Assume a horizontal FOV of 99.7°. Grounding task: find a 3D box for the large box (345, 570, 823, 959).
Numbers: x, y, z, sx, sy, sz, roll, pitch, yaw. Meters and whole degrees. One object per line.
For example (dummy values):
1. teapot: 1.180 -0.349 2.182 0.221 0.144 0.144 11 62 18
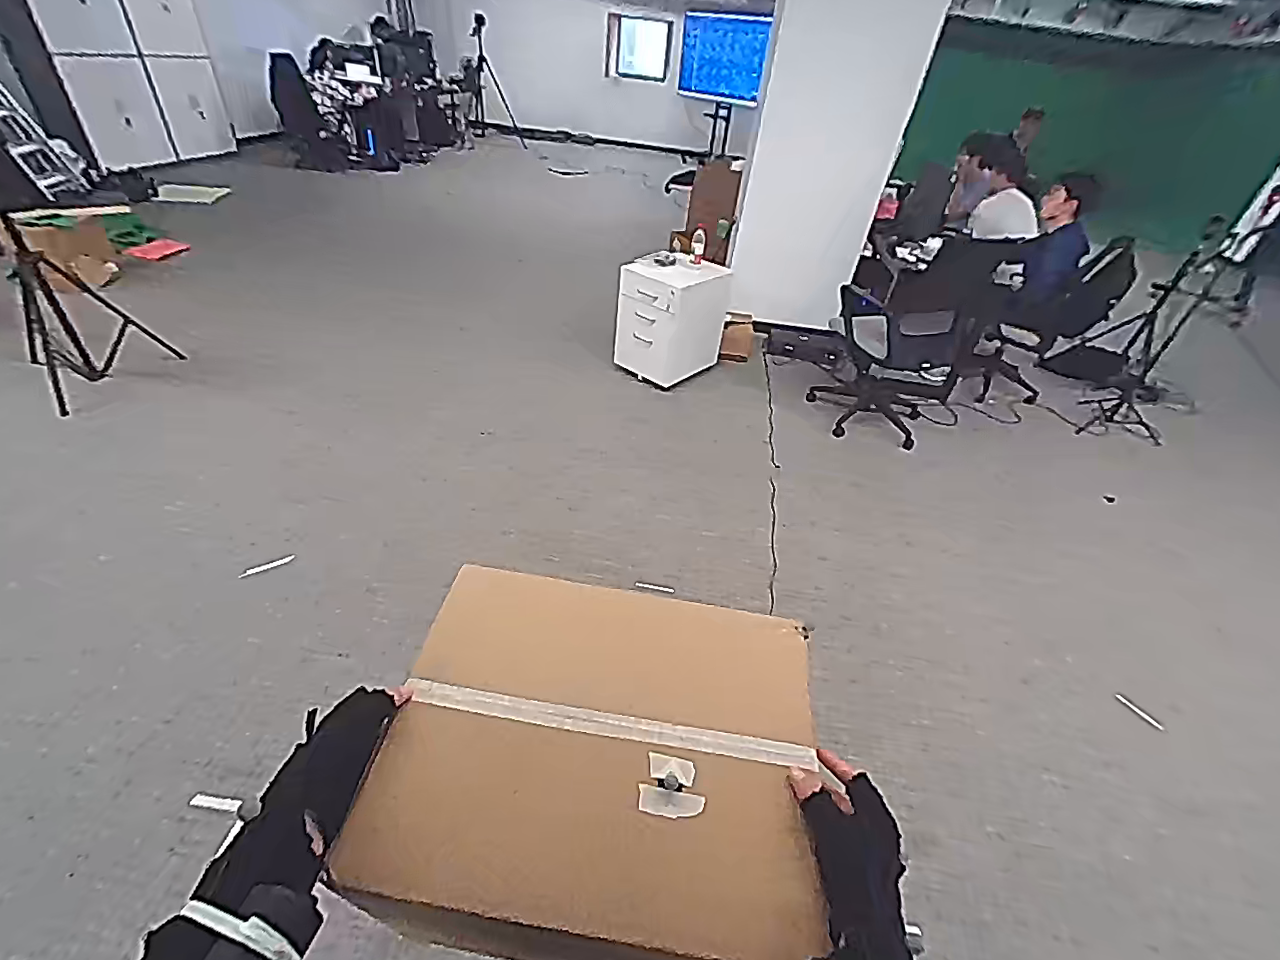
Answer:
1. large box: -0.044 0.348 0.644 0.408 0.320 0.320 10 45 3
